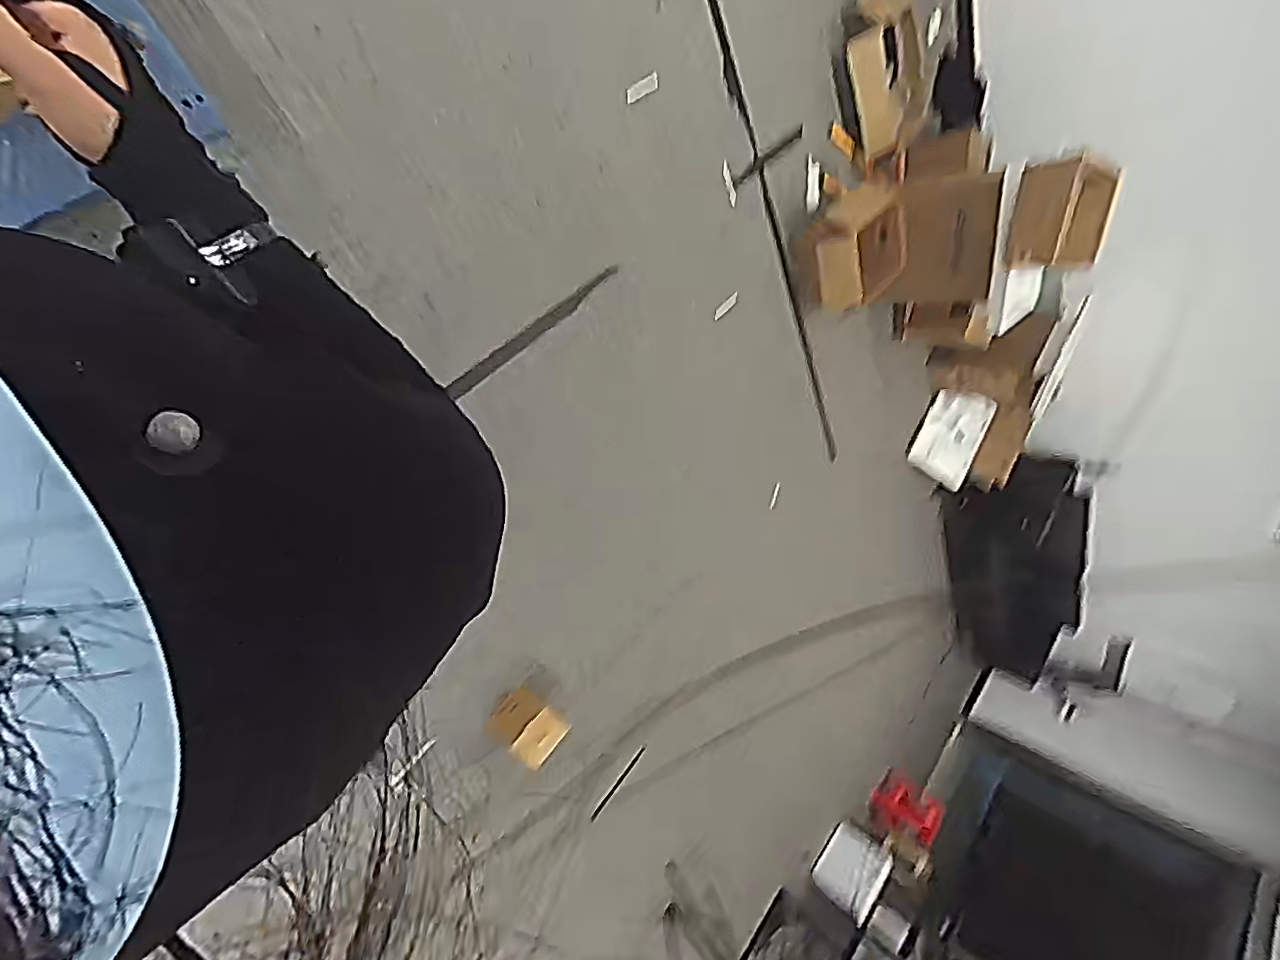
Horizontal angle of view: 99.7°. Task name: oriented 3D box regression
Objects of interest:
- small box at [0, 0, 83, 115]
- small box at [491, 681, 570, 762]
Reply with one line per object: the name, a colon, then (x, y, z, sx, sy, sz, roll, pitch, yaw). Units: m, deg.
small box: (-0.902, -0.613, 0.711, 0.168, 0.176, 0.179, -44, 128, -24)
small box: (-0.385, 0.839, 1.893, 0.168, 0.176, 0.179, -48, 129, -22)
